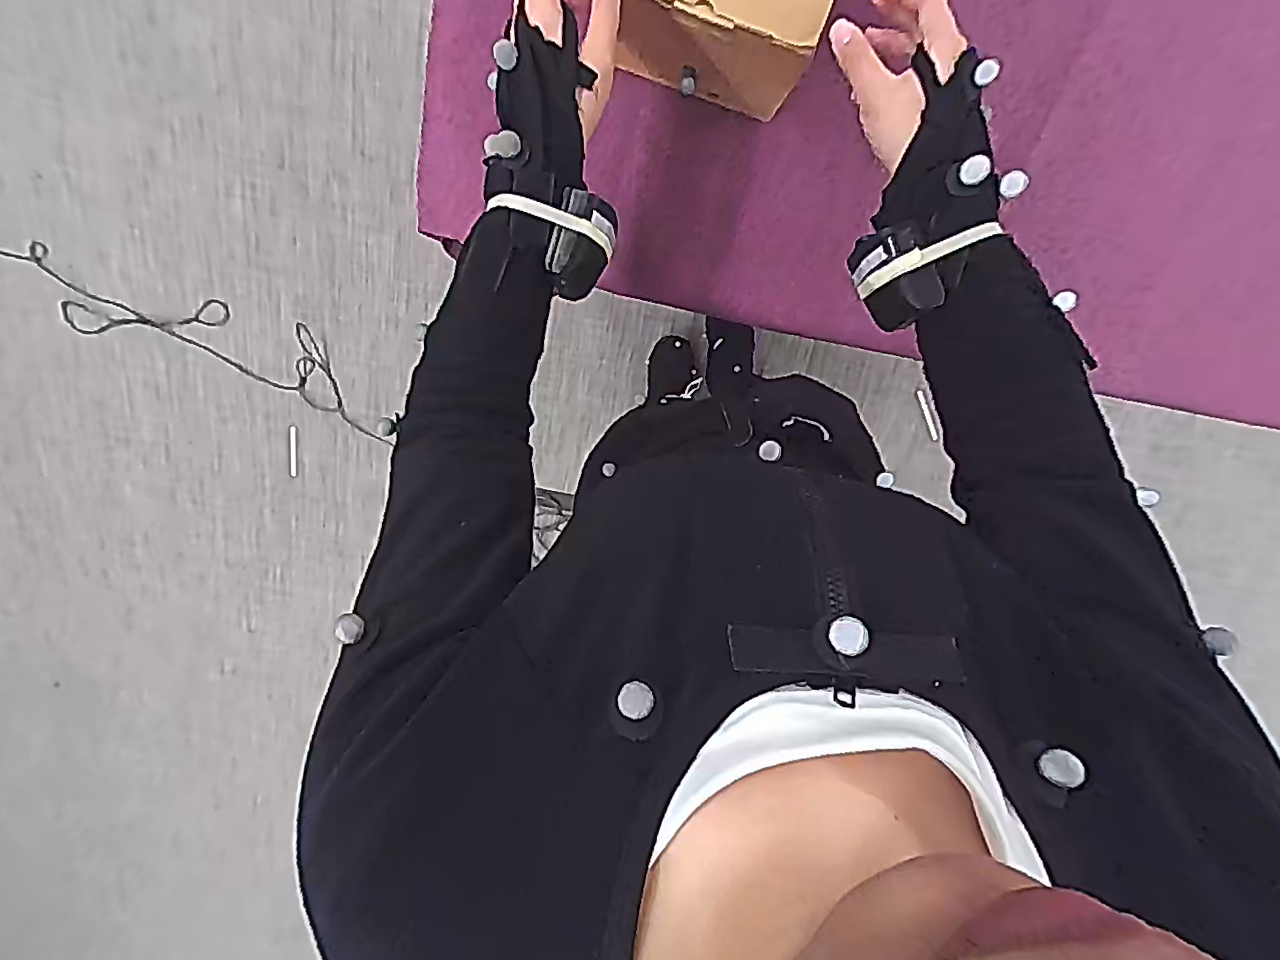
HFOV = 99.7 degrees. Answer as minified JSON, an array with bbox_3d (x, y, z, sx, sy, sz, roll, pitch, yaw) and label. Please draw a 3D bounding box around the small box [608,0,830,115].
[{"bbox_3d":[0.071,-0.429,0.421,0.168,0.176,0.179,17,109,-4],"label":"small box"}]
